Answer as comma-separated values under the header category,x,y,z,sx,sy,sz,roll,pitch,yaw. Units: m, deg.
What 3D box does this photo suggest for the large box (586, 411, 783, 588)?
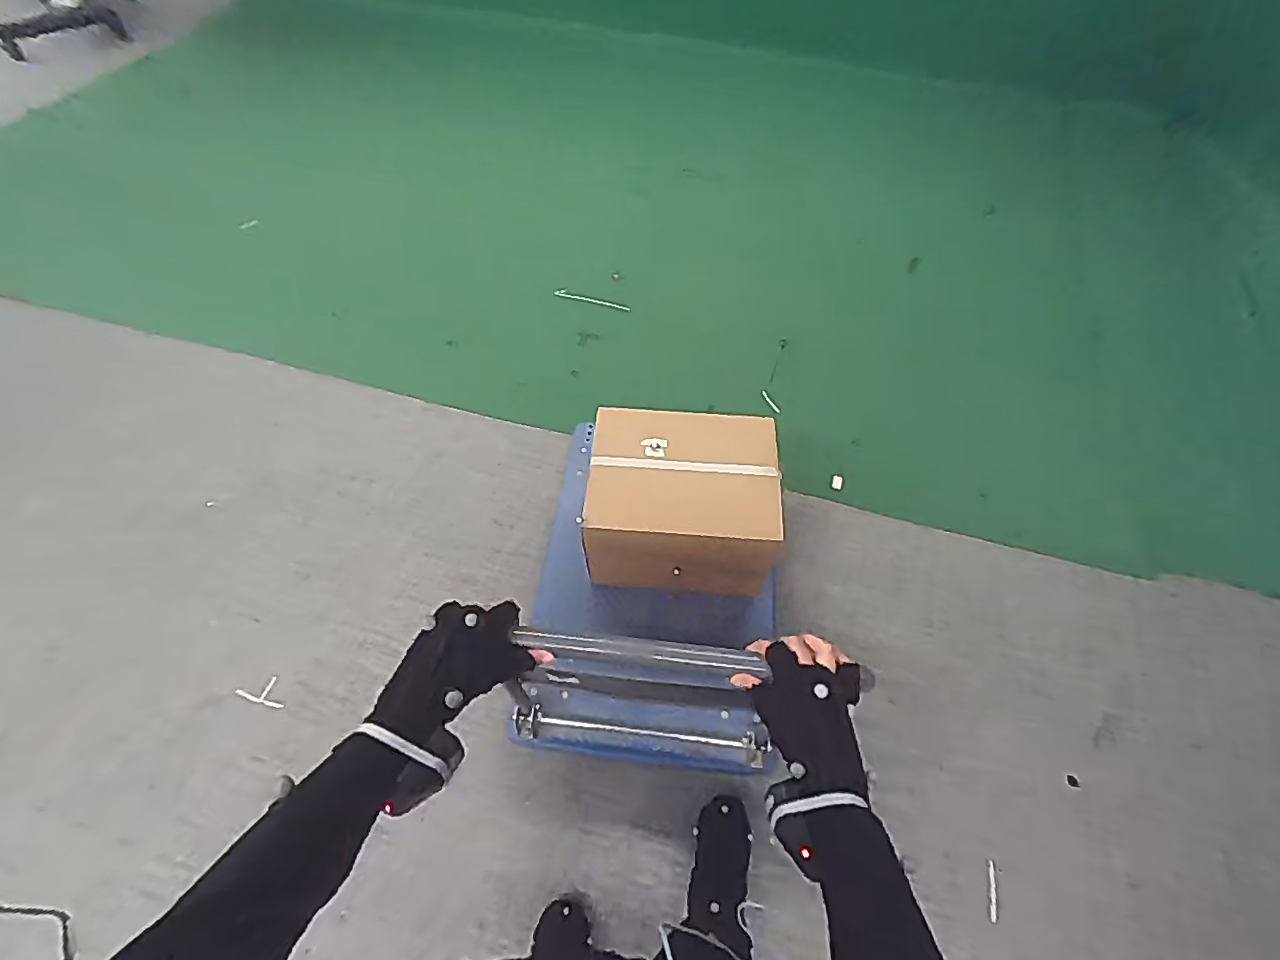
category,x,y,z,sx,sy,sz,roll,pitch,yaw
large box,0.097,0.056,1.287,0.408,0.320,0.320,3,57,2
